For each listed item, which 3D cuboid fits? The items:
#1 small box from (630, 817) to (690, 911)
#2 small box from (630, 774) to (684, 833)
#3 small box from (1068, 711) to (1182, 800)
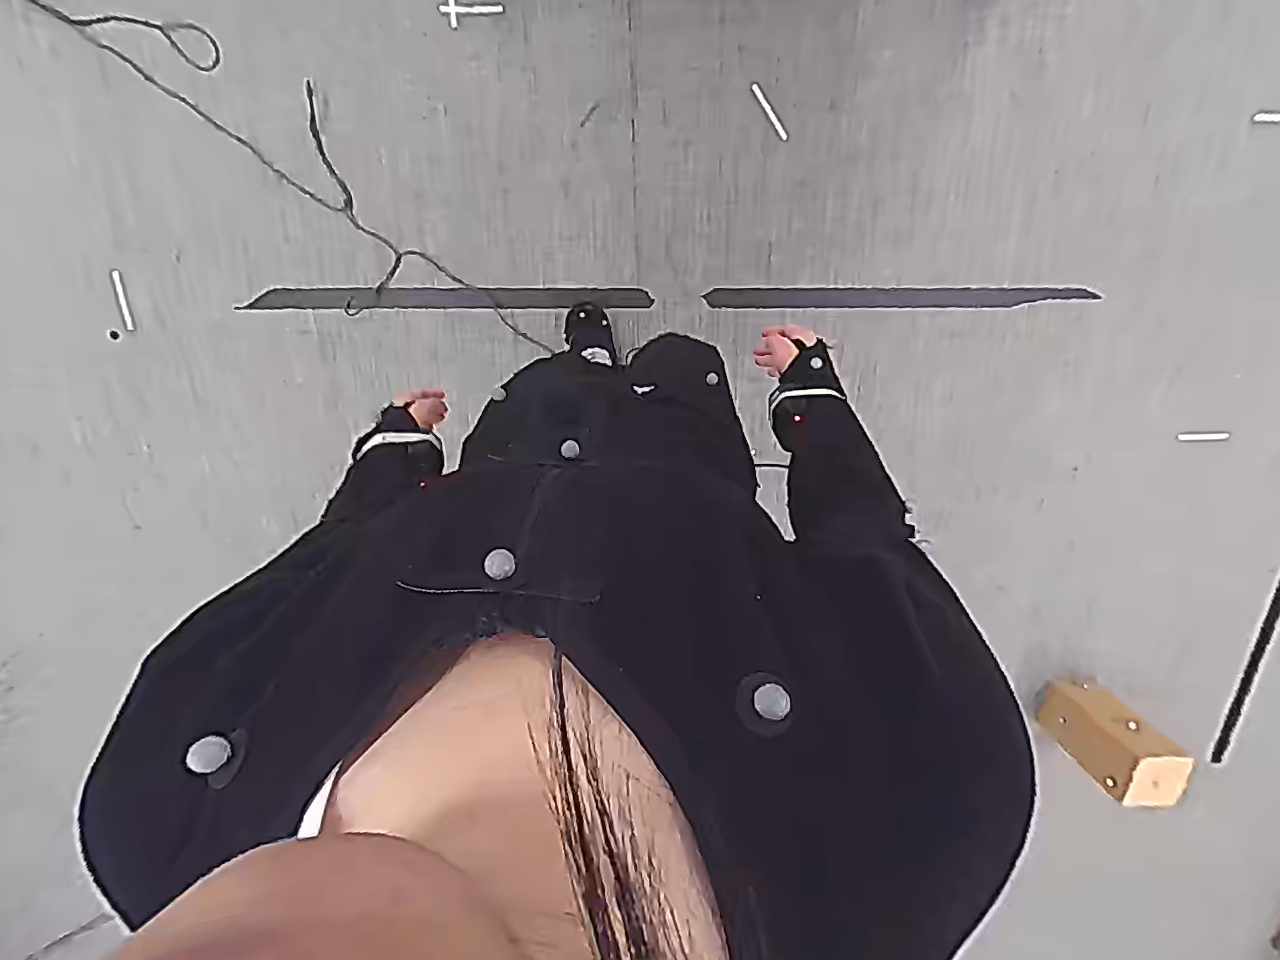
[{"bbox_3d":[0.059,1.167,1.658,0.168,0.176,0.179,-5,109,-1],"label":"small box"},{"bbox_3d":[0.056,1.117,1.815,0.168,0.176,0.179,-6,109,0],"label":"small box"},{"bbox_3d":[1.437,0.822,1.617,0.168,0.176,0.179,2,107,-4],"label":"small box"}]
